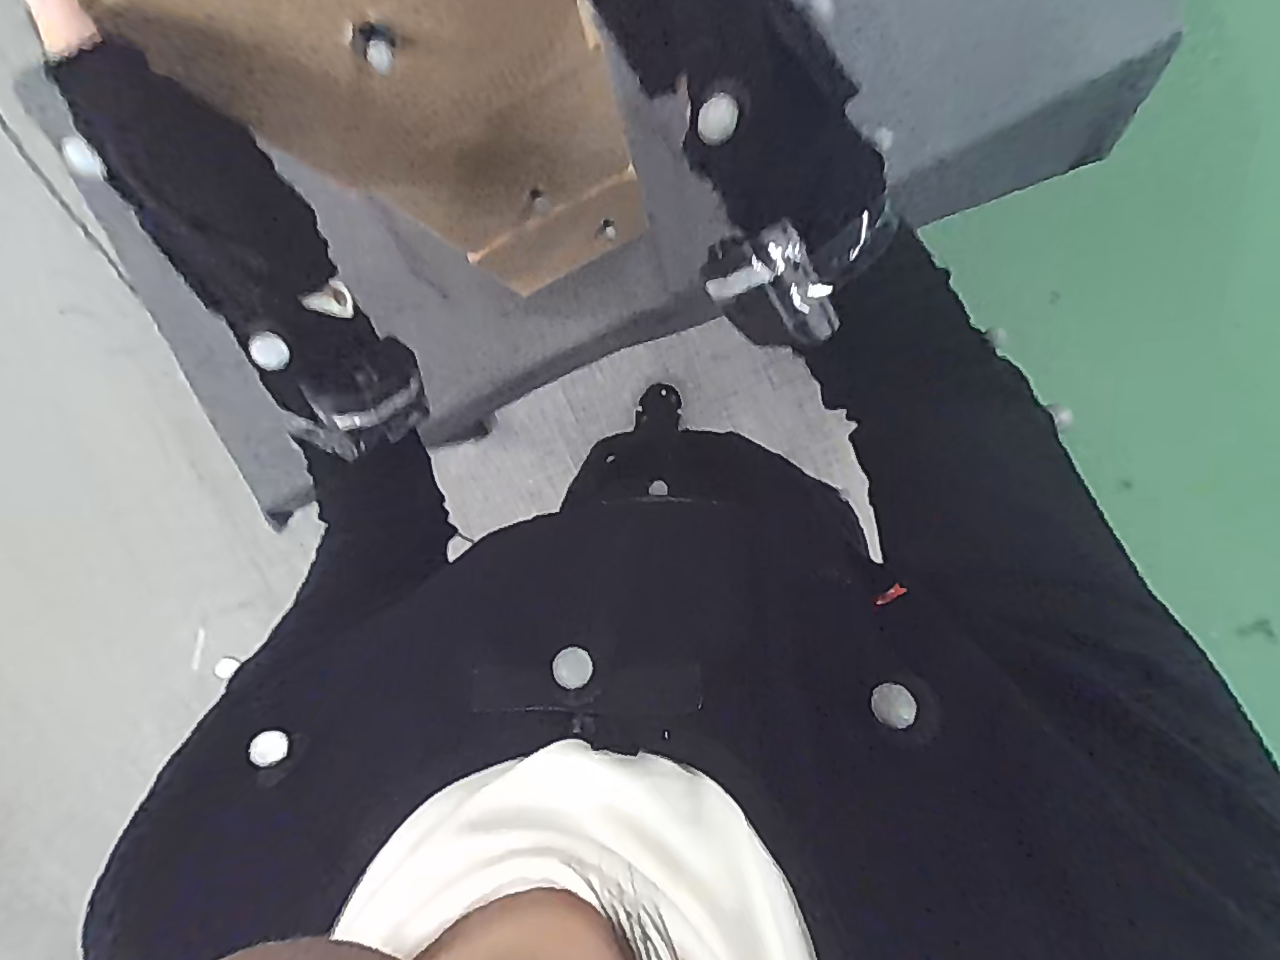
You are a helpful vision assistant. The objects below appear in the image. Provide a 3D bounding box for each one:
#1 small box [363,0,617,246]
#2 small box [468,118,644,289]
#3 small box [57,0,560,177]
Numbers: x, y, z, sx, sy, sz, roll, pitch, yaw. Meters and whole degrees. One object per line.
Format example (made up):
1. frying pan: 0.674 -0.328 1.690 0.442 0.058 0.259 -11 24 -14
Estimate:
1. small box: -0.127 -0.312 0.413 0.179 0.176 0.168 -25 94 8
2. small box: -0.105 -0.329 0.574 0.179 0.176 0.168 -26 94 10
3. small box: -0.150 -0.284 0.249 0.179 0.176 0.168 -22 93 8
